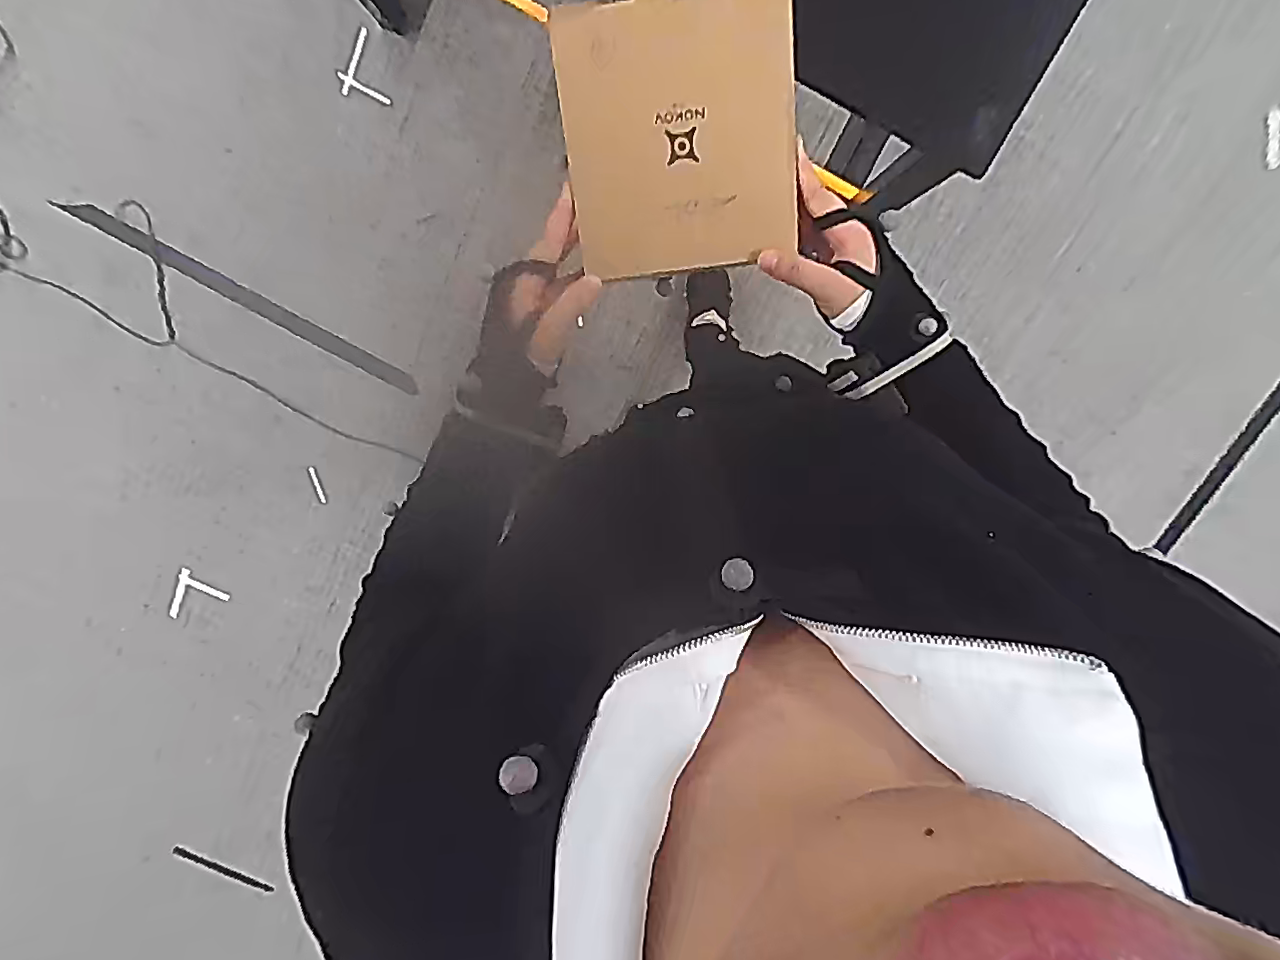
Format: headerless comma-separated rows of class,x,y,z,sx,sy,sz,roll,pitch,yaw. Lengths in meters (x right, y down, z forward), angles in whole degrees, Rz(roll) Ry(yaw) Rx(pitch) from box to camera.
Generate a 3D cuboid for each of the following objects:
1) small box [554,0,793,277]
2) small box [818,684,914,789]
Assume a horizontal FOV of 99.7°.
small box,0.025,-0.279,0.467,0.168,0.176,0.179,-7,110,0
small box,0.637,0.734,1.560,0.168,0.176,0.179,40,101,-7
